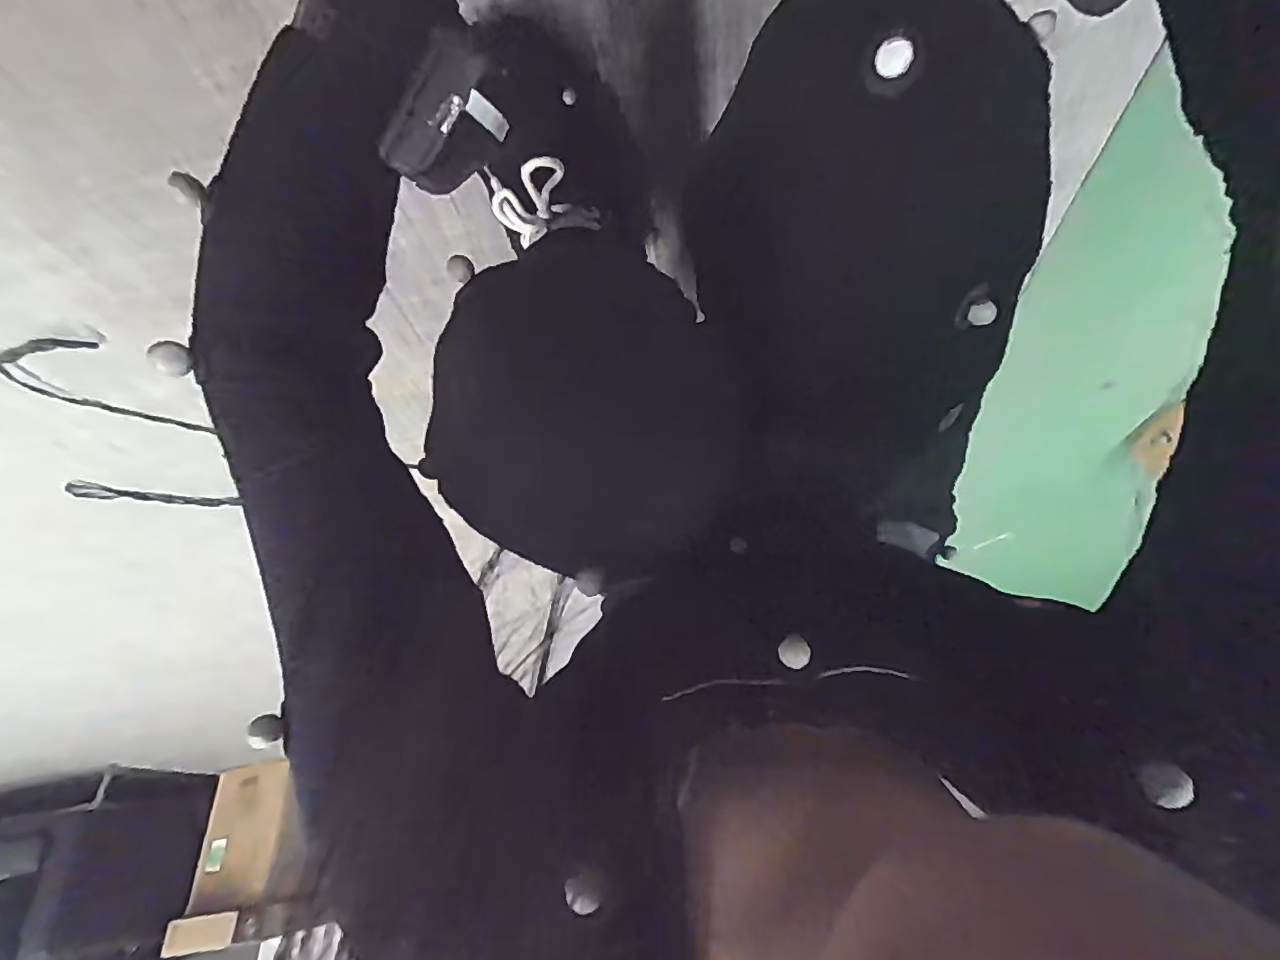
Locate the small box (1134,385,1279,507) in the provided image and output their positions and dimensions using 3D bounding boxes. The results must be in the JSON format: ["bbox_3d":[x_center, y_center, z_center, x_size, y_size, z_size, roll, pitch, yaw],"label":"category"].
[{"bbox_3d":[1.148,-0.074,1.061,0.179,0.176,0.168,-13,147,7],"label":"small box"}]
